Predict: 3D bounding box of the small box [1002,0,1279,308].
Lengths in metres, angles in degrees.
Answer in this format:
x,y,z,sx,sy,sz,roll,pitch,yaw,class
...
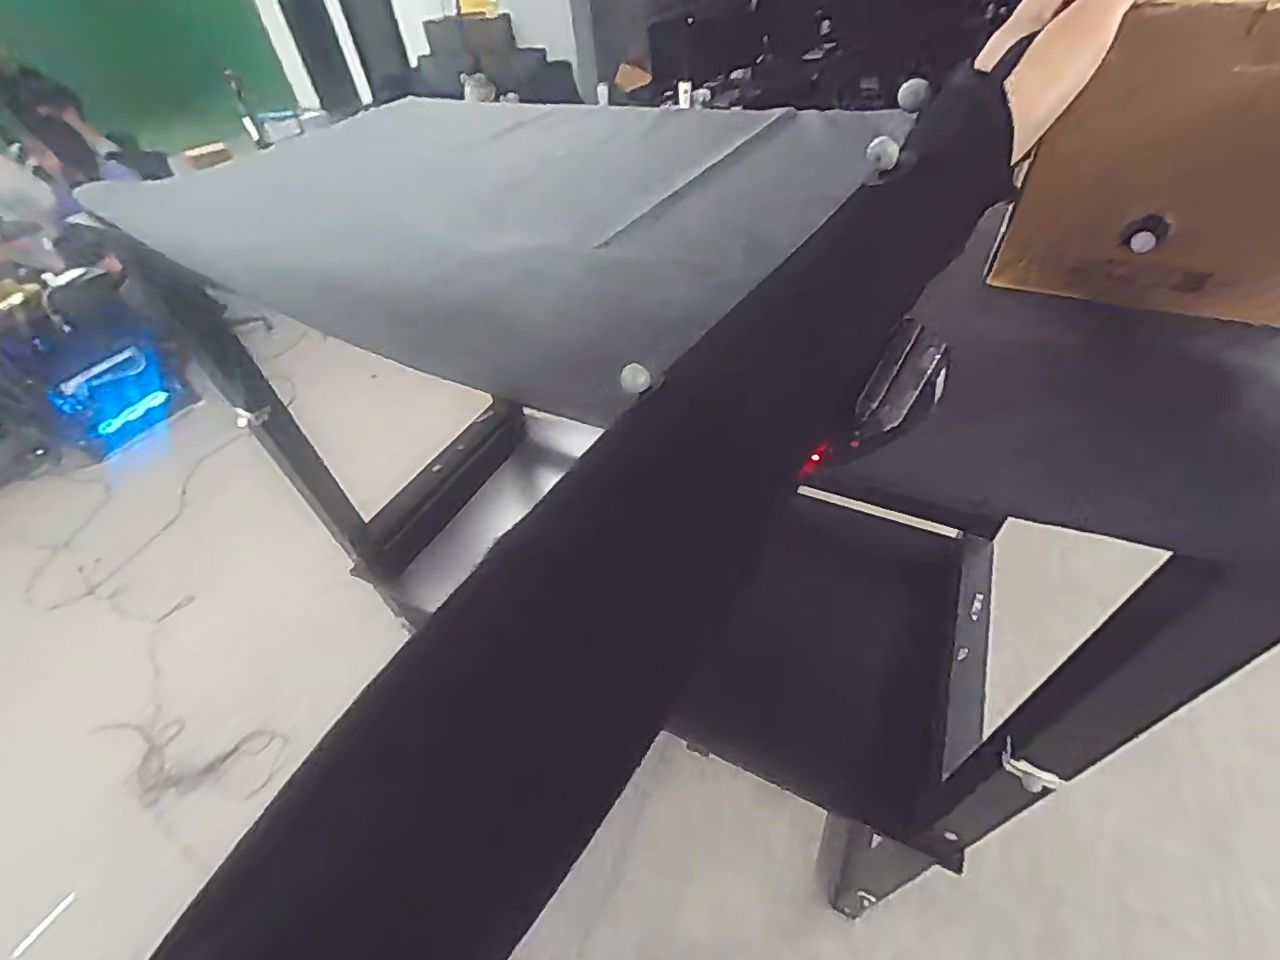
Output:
x,y,z,sx,sy,sz,roll,pitch,yaw,class
0.329,-0.228,0.295,0.168,0.176,0.179,19,72,24,small box
